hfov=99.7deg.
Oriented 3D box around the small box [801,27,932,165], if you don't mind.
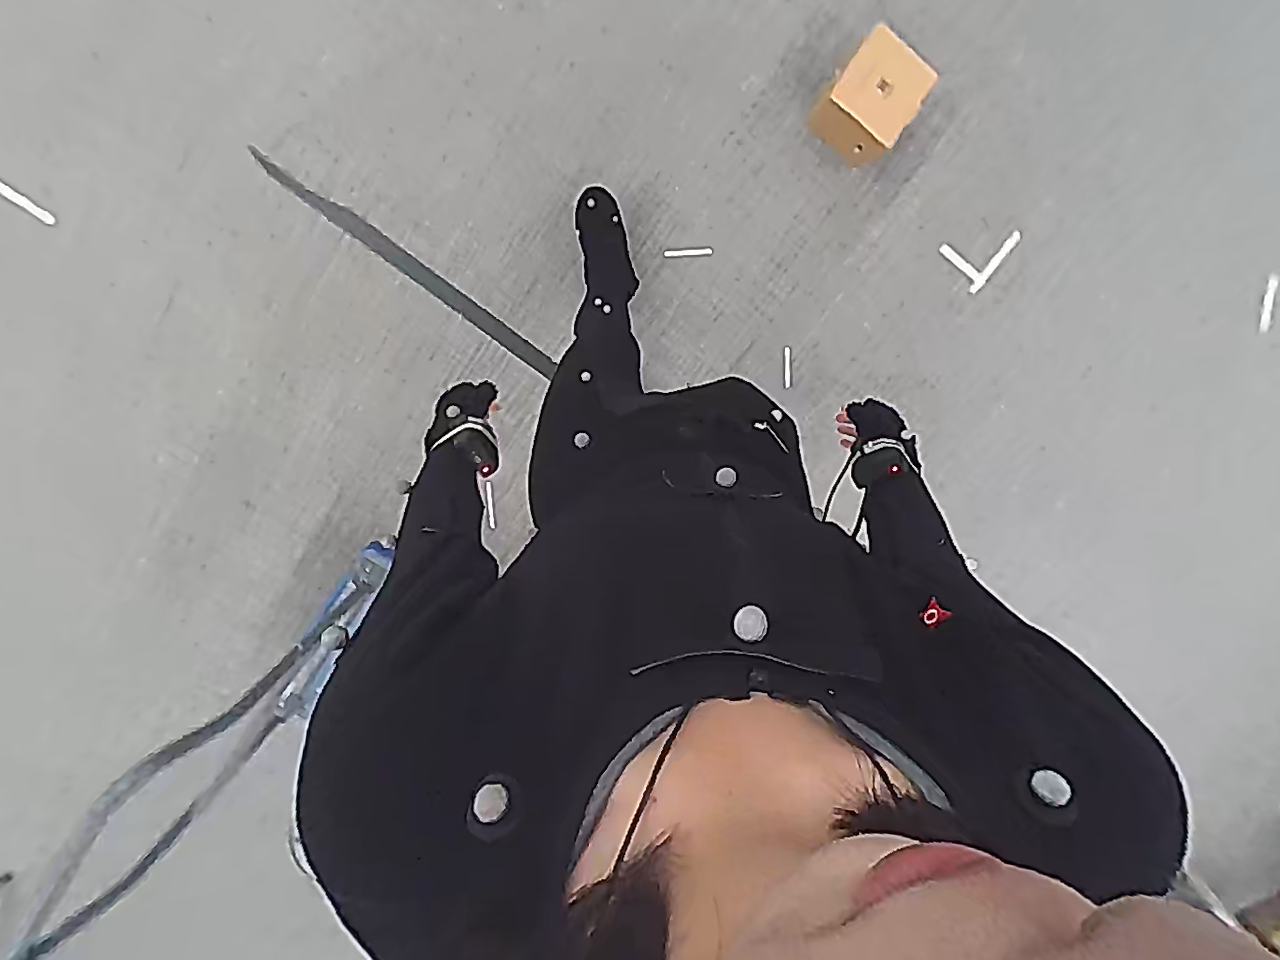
[{"bbox_3d":[0.498,-0.842,1.213,0.179,0.176,0.168,31,102,-11],"label":"small box"}]
